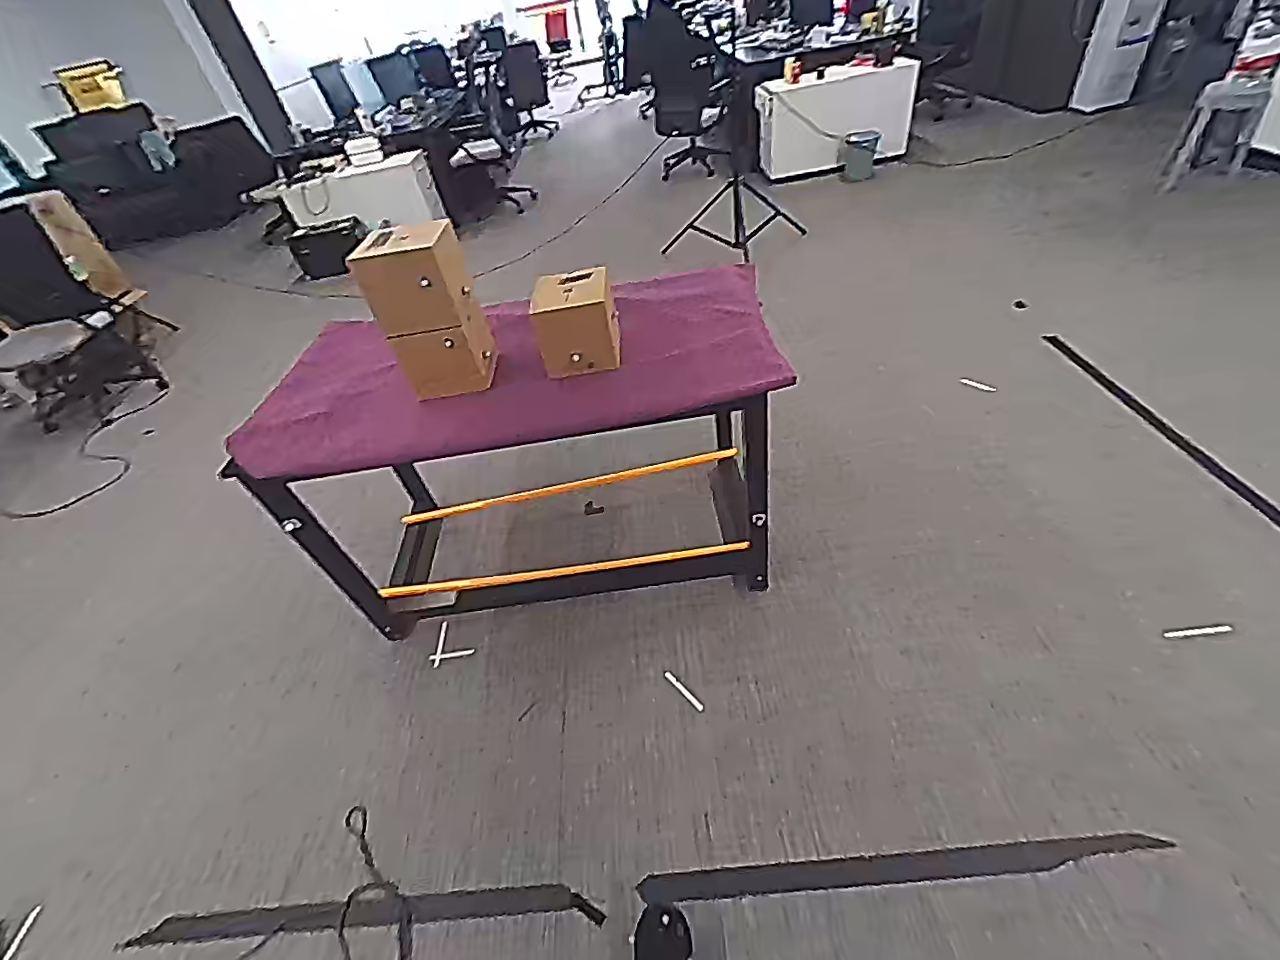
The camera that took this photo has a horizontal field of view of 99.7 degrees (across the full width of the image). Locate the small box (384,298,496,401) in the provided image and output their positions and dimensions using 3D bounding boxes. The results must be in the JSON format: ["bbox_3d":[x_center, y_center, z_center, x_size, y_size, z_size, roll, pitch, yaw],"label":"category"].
[{"bbox_3d":[-0.456,-0.300,1.264,0.179,0.176,0.168,-8,43,3],"label":"small box"}]

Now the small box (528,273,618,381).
[{"bbox_3d":[-0.147,-0.351,1.246,0.168,0.176,0.179,-8,43,5],"label":"small box"}]
